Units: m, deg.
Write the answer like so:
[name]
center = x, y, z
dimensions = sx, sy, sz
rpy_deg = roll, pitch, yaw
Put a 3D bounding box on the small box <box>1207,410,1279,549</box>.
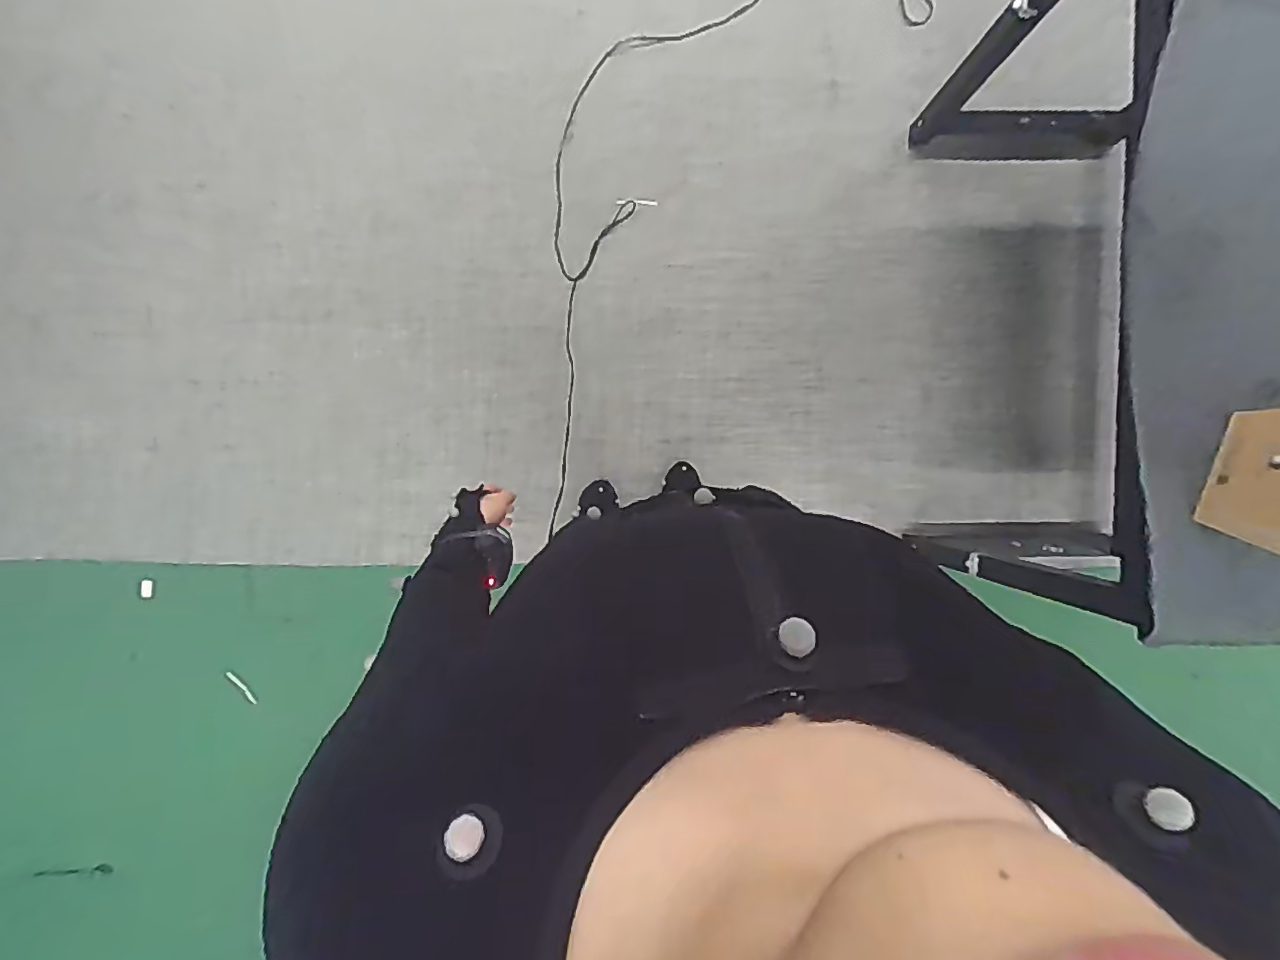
[small box]
center = 0.893, 0.010, 0.678
dimensions = 0.179, 0.176, 0.168
rpy_deg = 20, 91, -3
